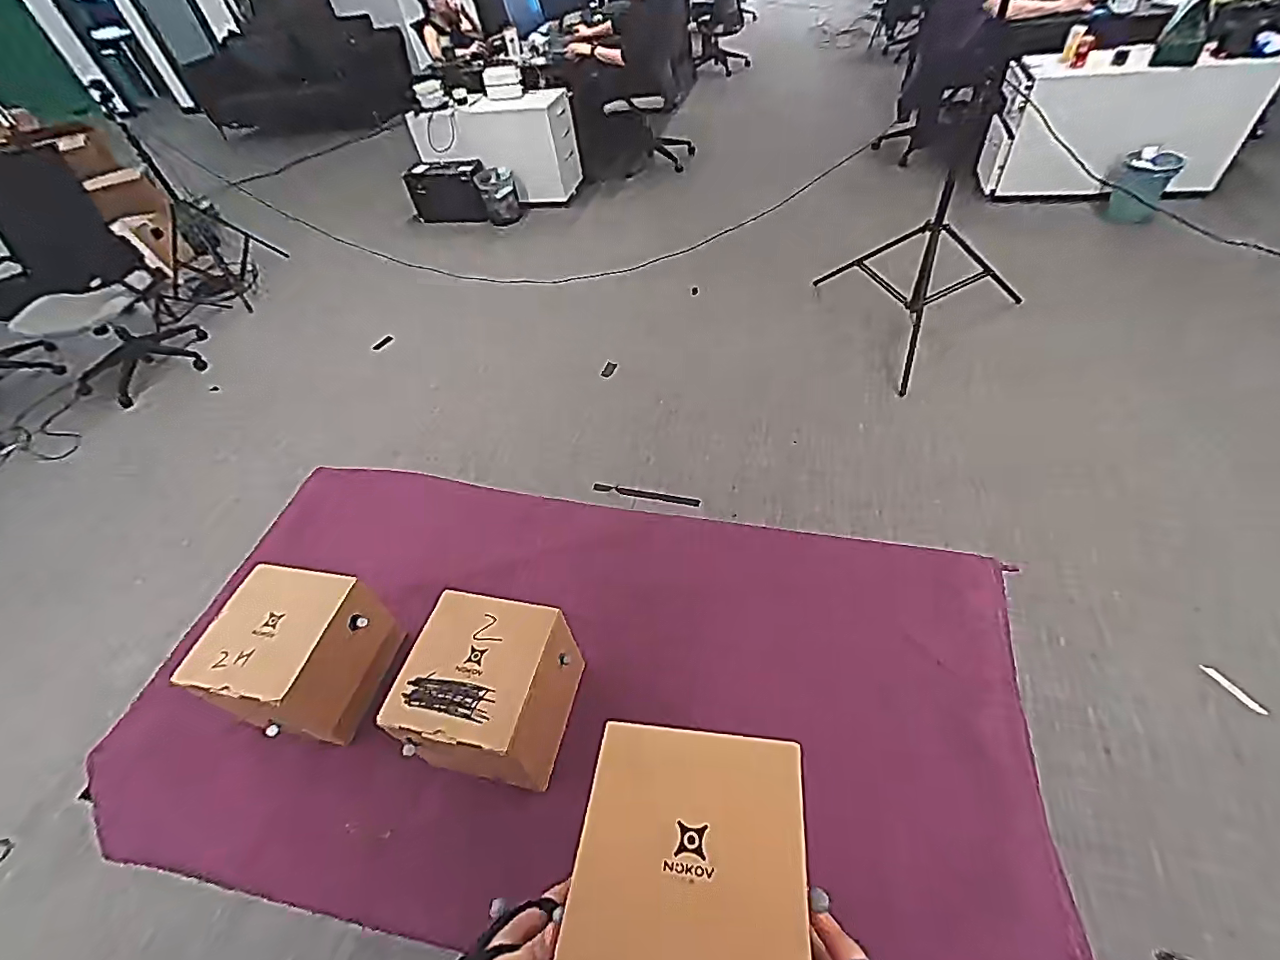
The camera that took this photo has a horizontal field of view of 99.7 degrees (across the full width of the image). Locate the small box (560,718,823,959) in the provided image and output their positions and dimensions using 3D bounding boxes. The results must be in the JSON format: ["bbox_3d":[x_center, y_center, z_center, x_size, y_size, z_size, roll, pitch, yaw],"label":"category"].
[{"bbox_3d":[0.049,0.326,0.437,0.168,0.176,0.179,2,39,11],"label":"small box"}]

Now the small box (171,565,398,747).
[{"bbox_3d":[-0.471,0.245,0.756,0.168,0.176,0.179,5,49,12],"label":"small box"}]
